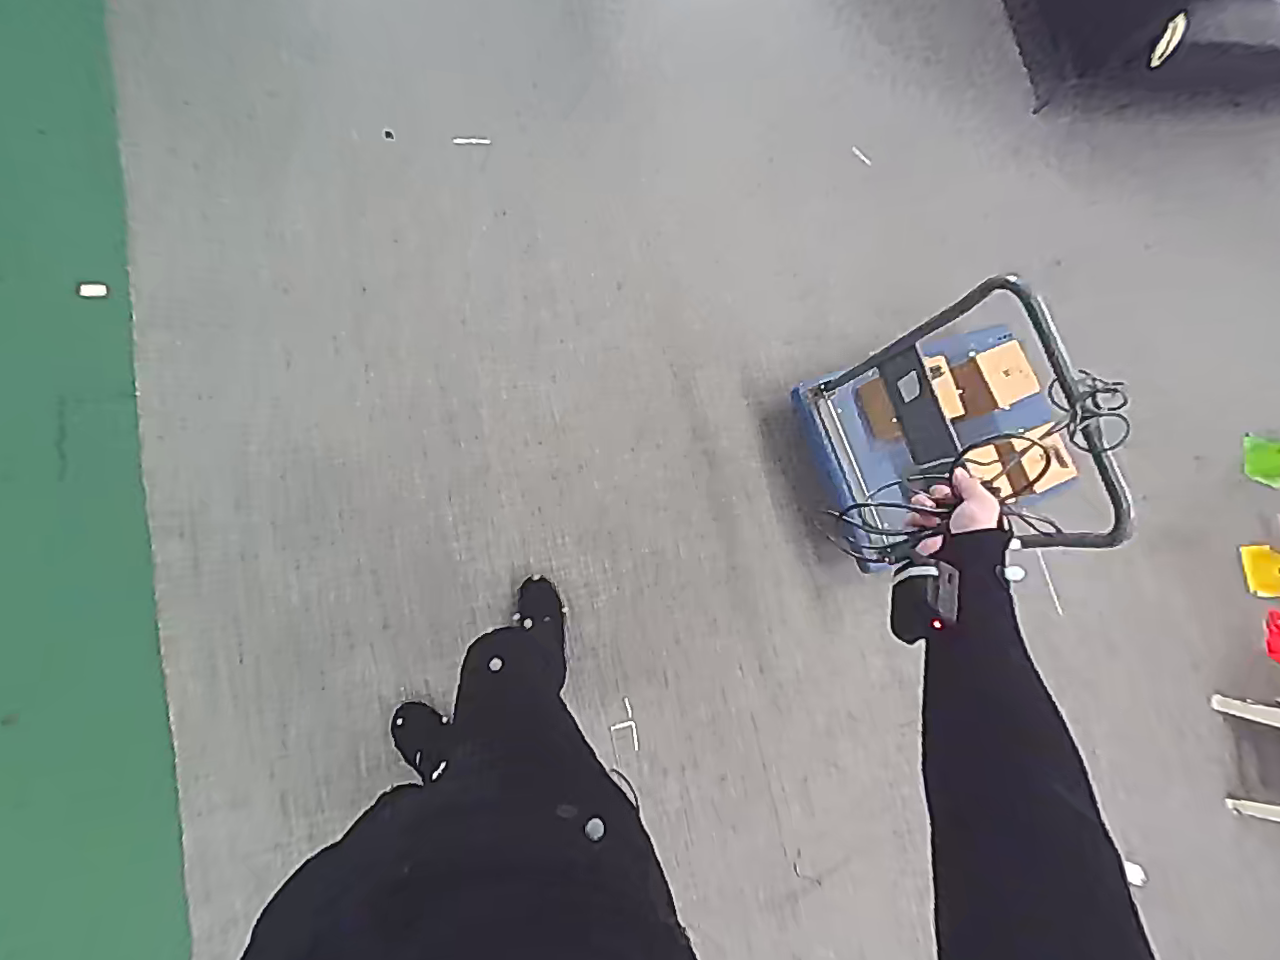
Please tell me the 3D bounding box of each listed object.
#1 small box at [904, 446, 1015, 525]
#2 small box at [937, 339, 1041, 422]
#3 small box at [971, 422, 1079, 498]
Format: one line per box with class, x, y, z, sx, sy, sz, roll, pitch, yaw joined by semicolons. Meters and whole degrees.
small box;0.880;0.018;1.502;0.179;0.176;0.168;-16;83;-16
small box;1.019;-0.288;1.601;0.179;0.176;0.168;-22;85;-18
small box;1.104;-0.049;1.571;0.179;0.176;0.168;-20;83;-17
